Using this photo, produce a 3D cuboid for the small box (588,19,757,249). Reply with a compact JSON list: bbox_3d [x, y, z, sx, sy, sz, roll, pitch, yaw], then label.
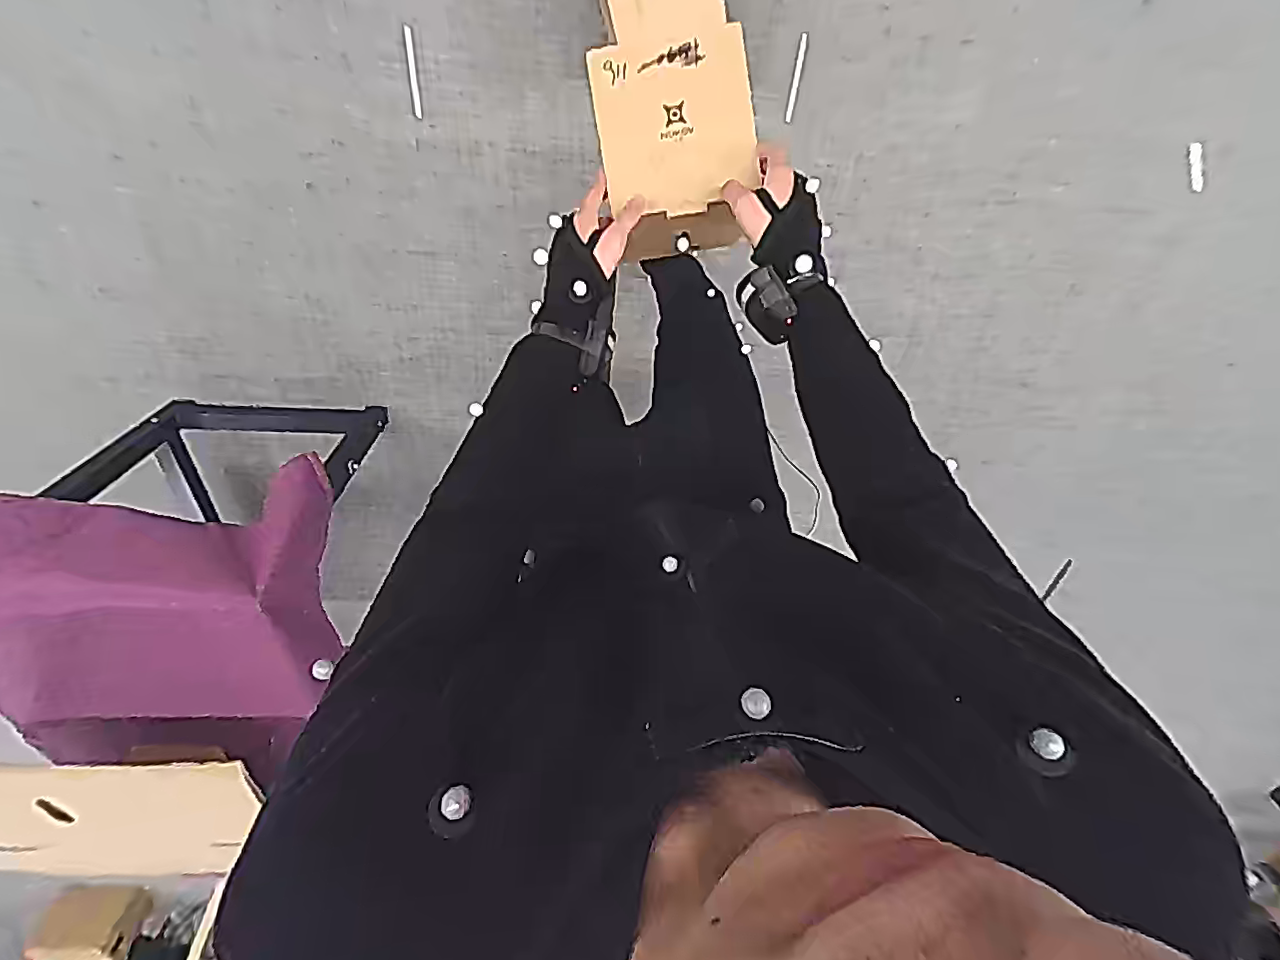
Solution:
[{"bbox_3d":[0.038,-0.395,0.655,0.168,0.176,0.179,-8,97,2],"label":"small box"}]
